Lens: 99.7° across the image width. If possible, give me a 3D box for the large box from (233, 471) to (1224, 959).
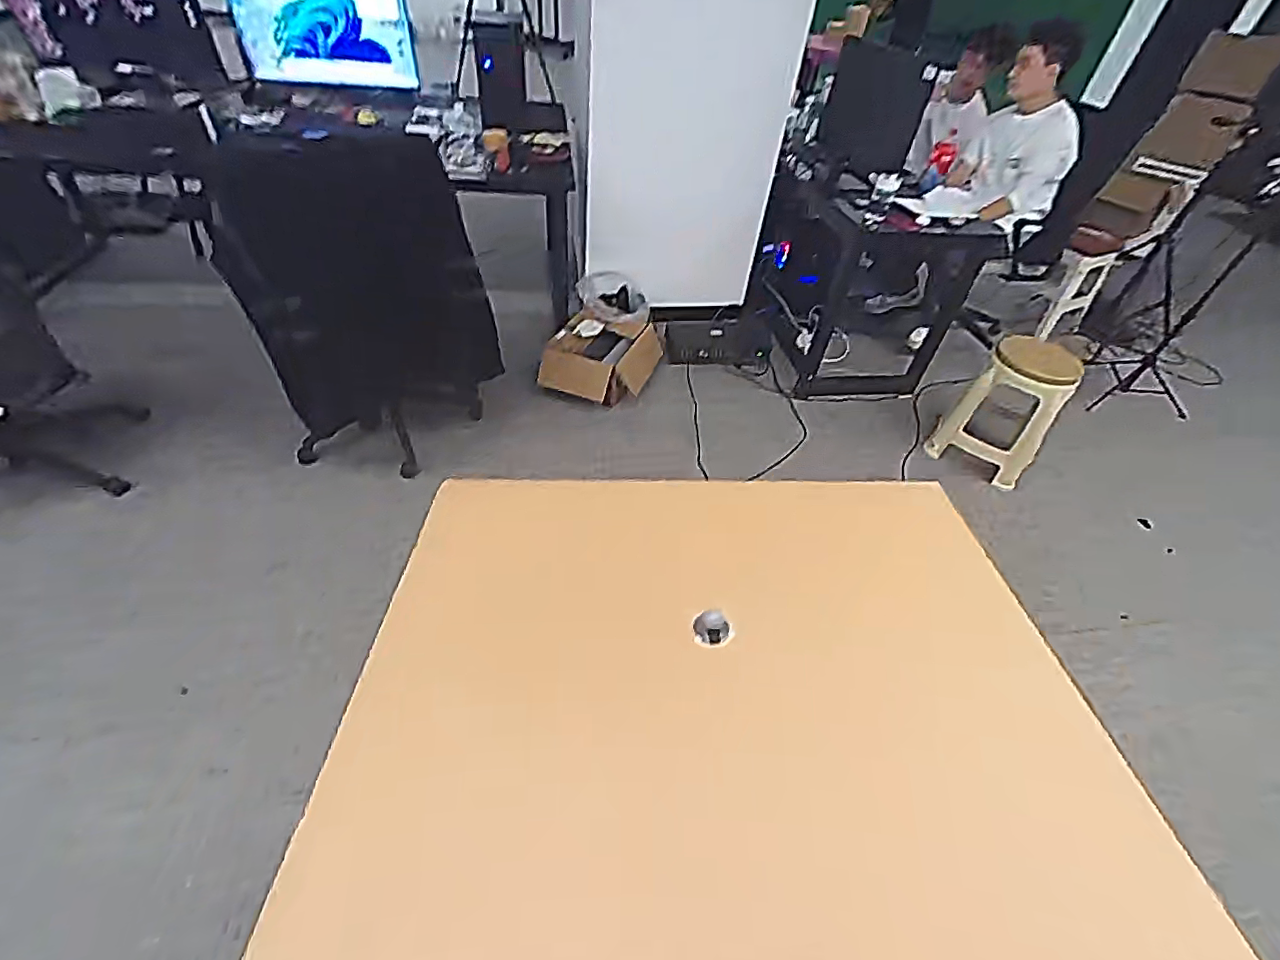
[{"bbox_3d":[0.029,0.210,0.419,0.408,0.320,0.320,-2,42,-1],"label":"large box"}]
